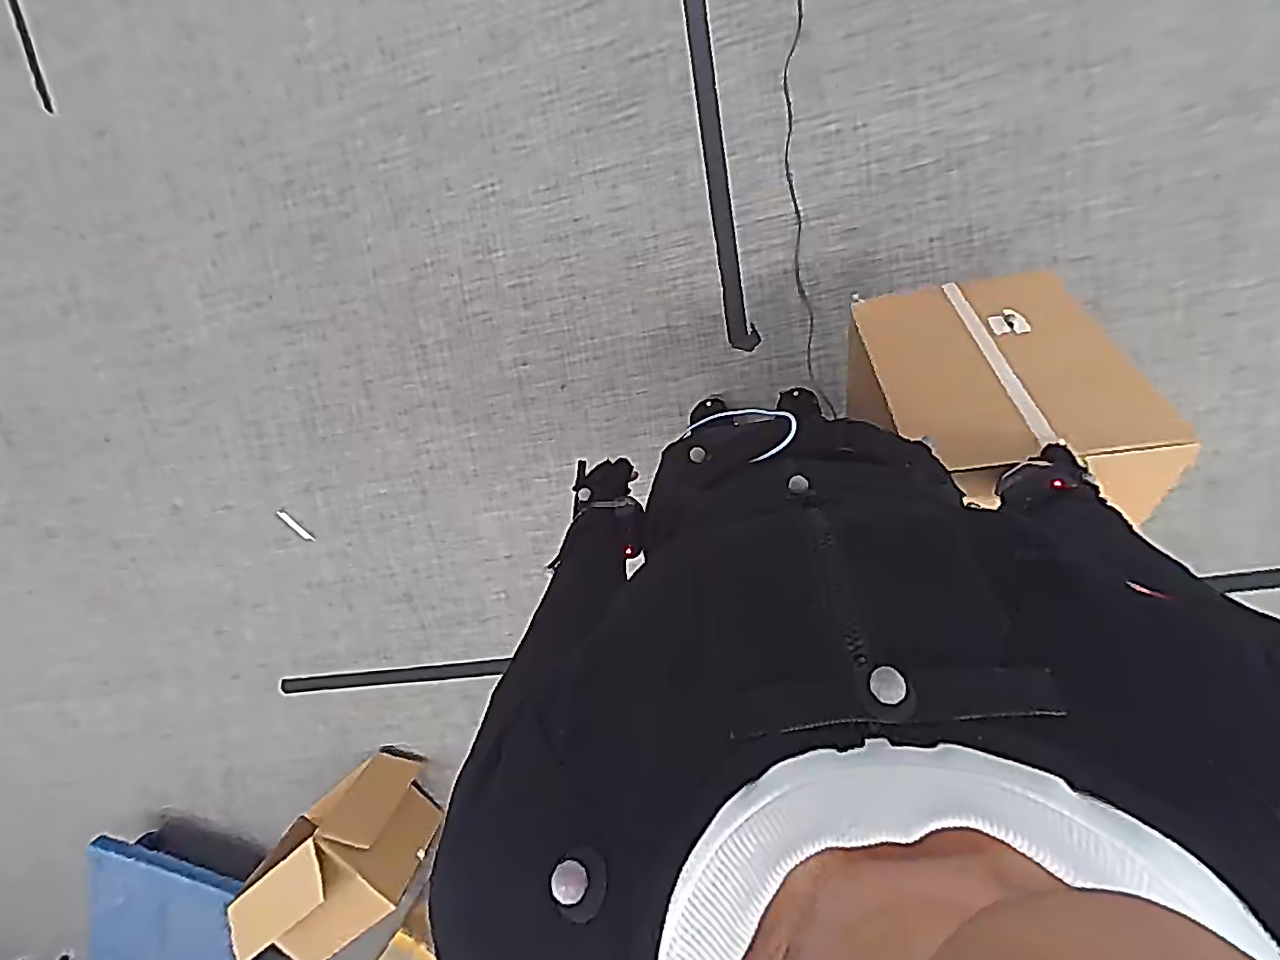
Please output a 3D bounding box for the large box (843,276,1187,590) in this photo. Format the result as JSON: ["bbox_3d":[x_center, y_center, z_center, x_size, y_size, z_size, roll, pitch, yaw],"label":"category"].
[{"bbox_3d":[0.547,-0.076,0.909,0.320,0.408,0.320,-8,138,10],"label":"large box"}]
